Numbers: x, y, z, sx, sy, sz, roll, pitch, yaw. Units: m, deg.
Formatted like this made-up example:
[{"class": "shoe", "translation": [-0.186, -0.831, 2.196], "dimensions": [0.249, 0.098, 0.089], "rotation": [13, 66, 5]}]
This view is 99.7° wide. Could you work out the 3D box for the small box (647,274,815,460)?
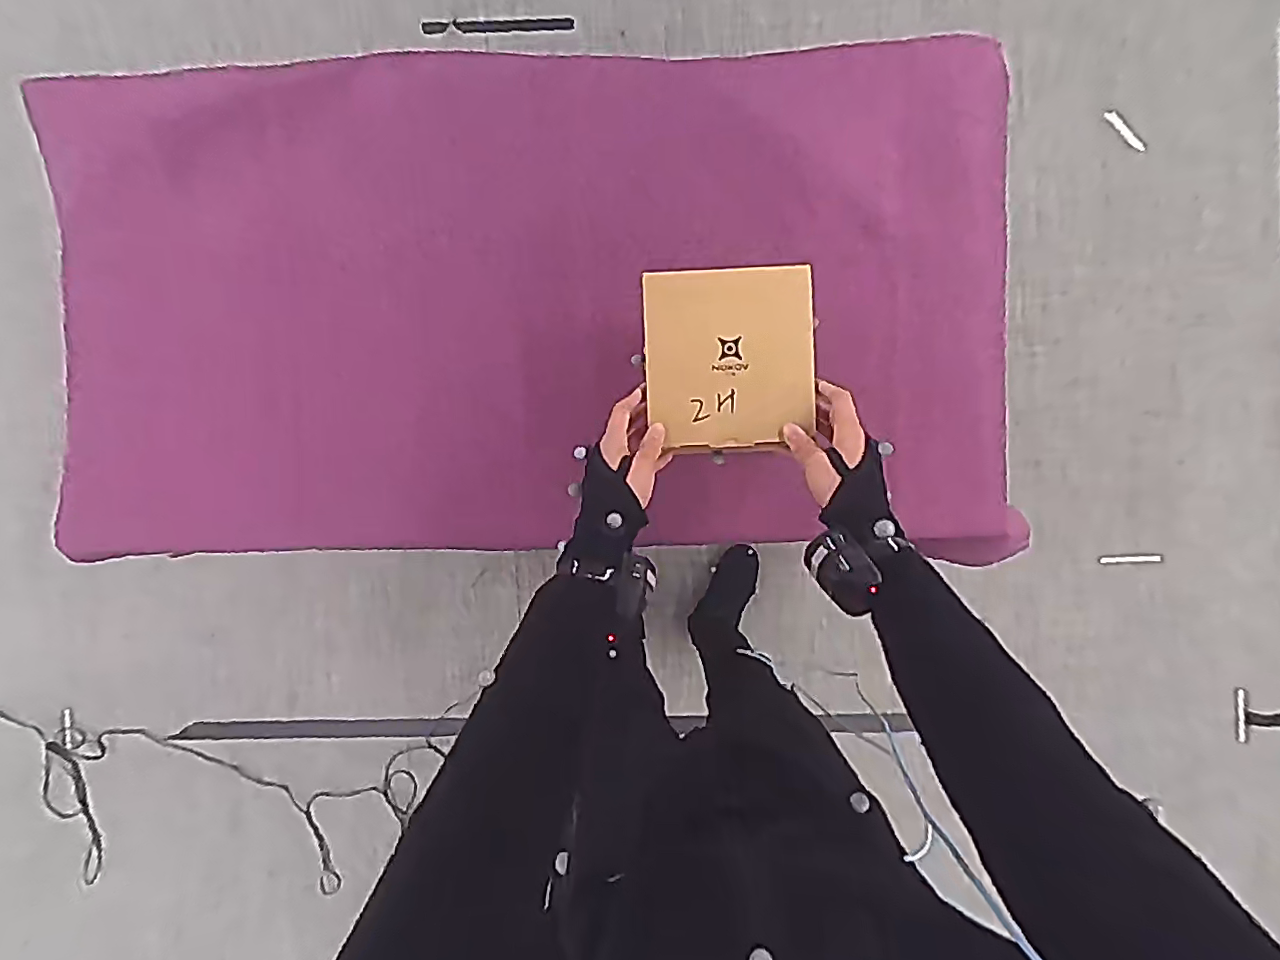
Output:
[{"class": "small box", "translation": [0.091, -0.115, 0.612], "dimensions": [0.168, 0.176, 0.179], "rotation": [-2, 91, 3]}]
